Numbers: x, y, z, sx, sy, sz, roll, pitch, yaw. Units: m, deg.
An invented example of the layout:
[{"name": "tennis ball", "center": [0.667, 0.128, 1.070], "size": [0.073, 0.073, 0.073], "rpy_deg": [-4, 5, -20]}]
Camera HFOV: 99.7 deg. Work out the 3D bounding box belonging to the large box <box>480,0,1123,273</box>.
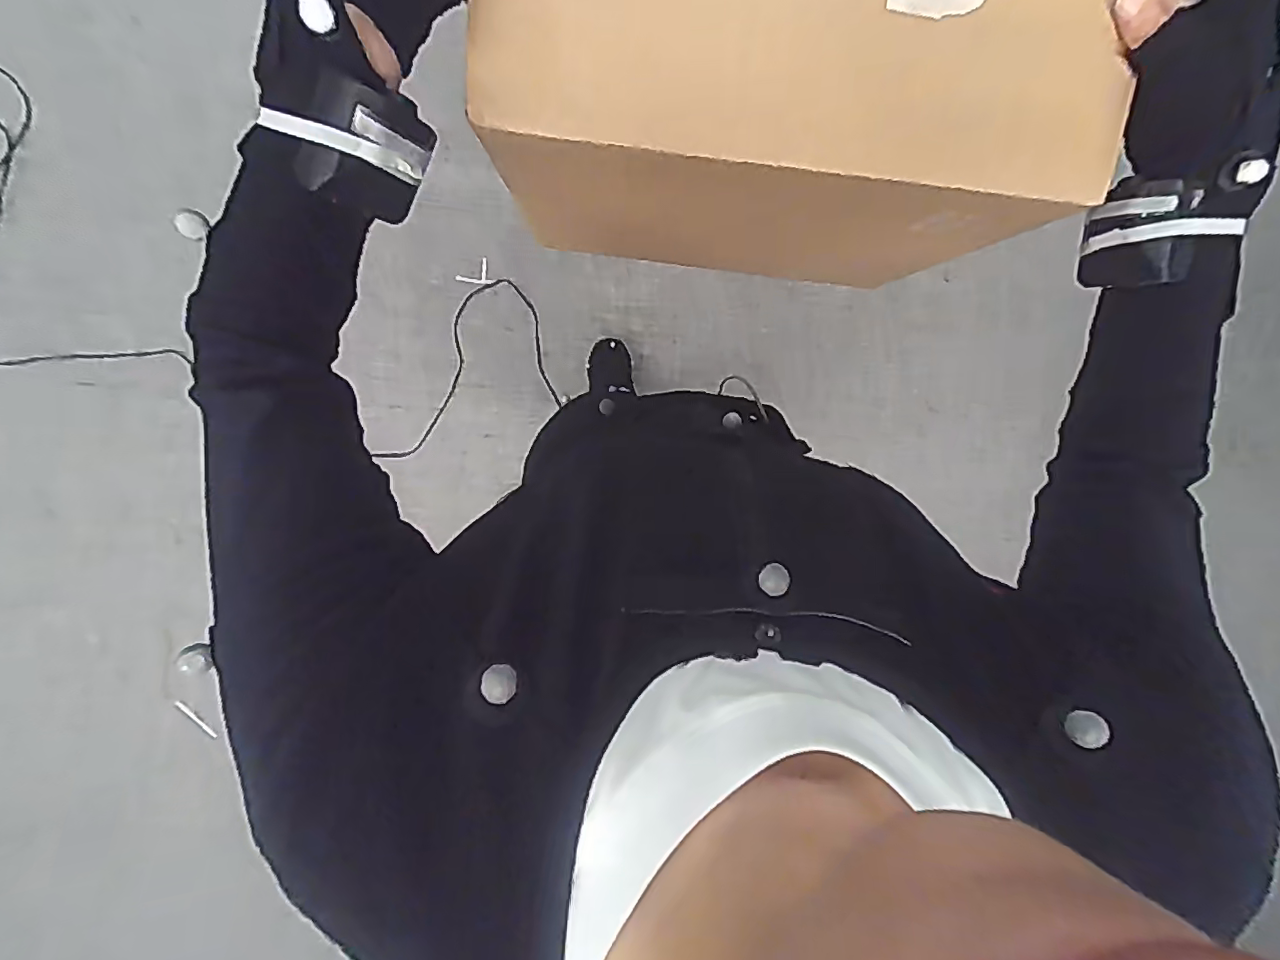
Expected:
[{"name": "large box", "center": [0.101, -0.383, 0.468], "size": [0.408, 0.320, 0.320], "rpy_deg": [5, 101, -3]}]
